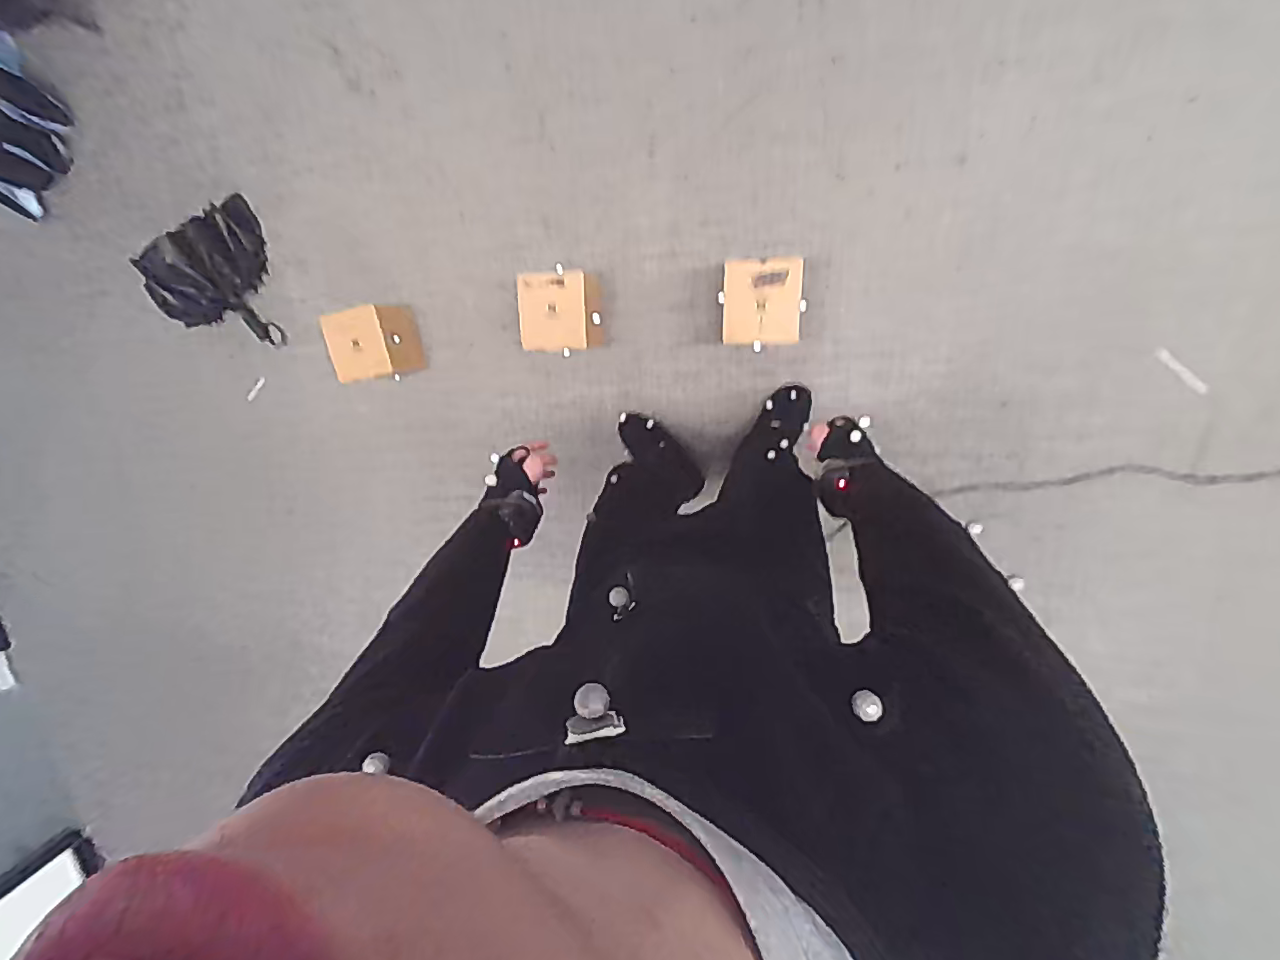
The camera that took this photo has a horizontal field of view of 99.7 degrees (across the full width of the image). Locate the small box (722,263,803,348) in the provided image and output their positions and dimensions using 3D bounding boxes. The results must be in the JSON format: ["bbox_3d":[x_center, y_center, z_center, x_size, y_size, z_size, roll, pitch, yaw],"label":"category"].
[{"bbox_3d":[0.280,-0.398,1.251,0.168,0.176,0.179,2,106,12],"label":"small box"}]

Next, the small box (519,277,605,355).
[{"bbox_3d":[-0.187,-0.405,1.348,0.168,0.176,0.179,2,105,11],"label":"small box"}]
